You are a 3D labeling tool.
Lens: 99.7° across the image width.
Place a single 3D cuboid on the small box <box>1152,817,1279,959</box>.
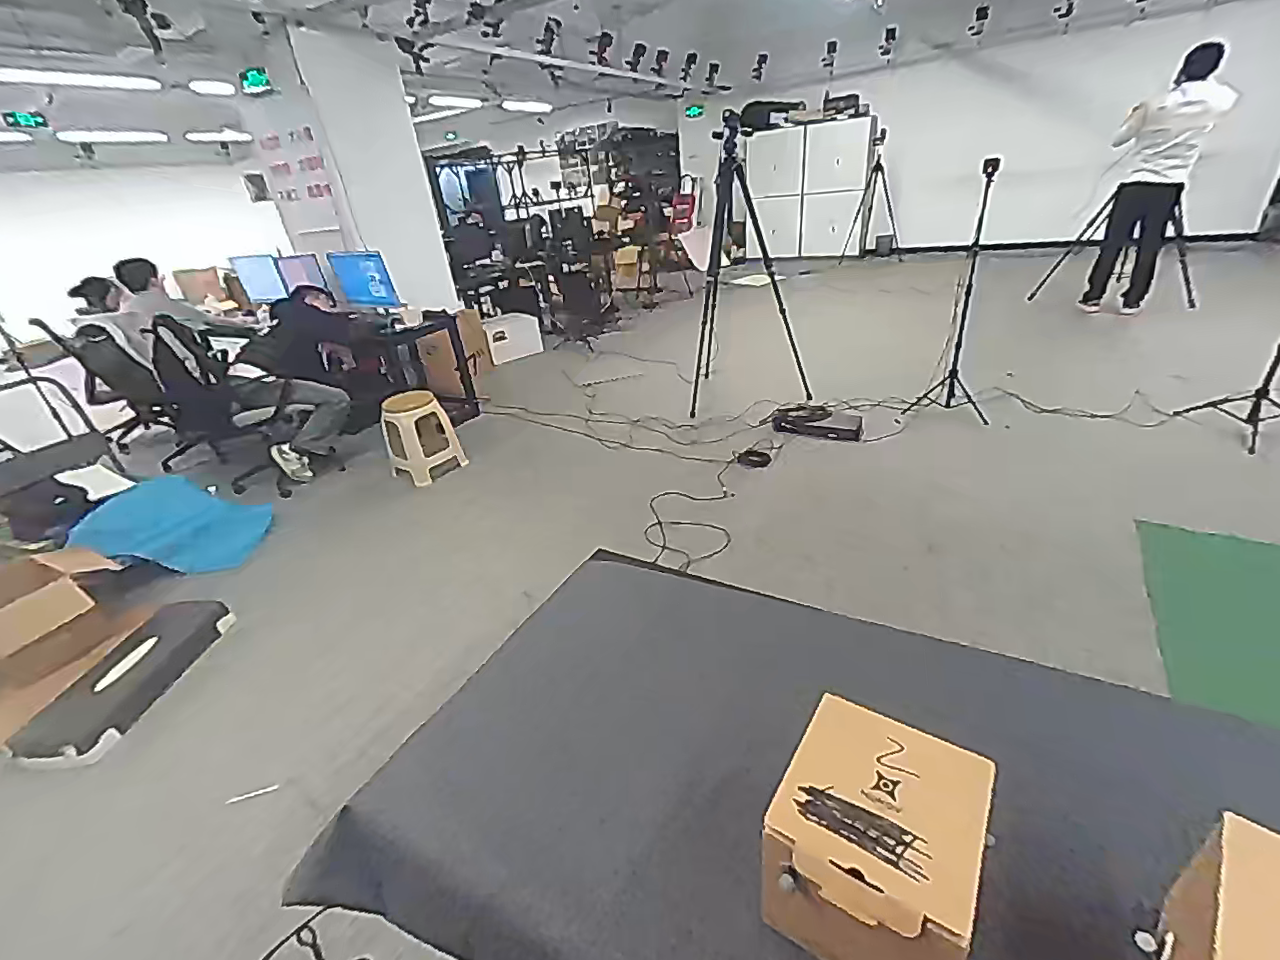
[{"bbox_3d":[0.517,0.412,0.398,0.168,0.176,0.179,-29,35,-37],"label":"small box"}]
